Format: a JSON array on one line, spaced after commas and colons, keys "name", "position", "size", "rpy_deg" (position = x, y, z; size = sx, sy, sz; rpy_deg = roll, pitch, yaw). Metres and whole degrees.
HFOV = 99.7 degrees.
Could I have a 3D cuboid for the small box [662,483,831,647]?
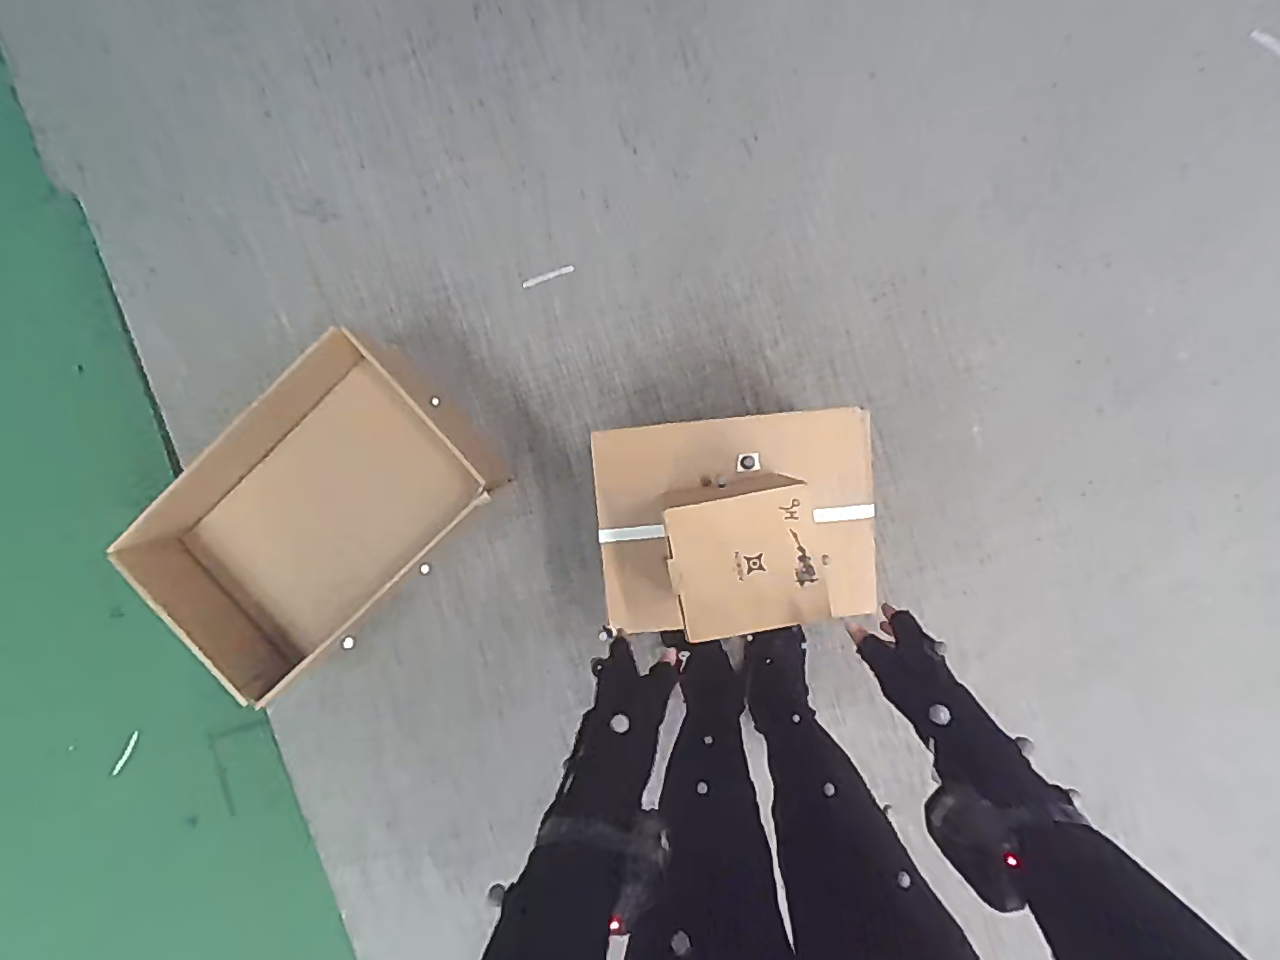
[{"name": "small box", "position": [0.131, 0.102, 0.716], "size": [0.179, 0.176, 0.168], "rpy_deg": [-11, 93, 4]}]
